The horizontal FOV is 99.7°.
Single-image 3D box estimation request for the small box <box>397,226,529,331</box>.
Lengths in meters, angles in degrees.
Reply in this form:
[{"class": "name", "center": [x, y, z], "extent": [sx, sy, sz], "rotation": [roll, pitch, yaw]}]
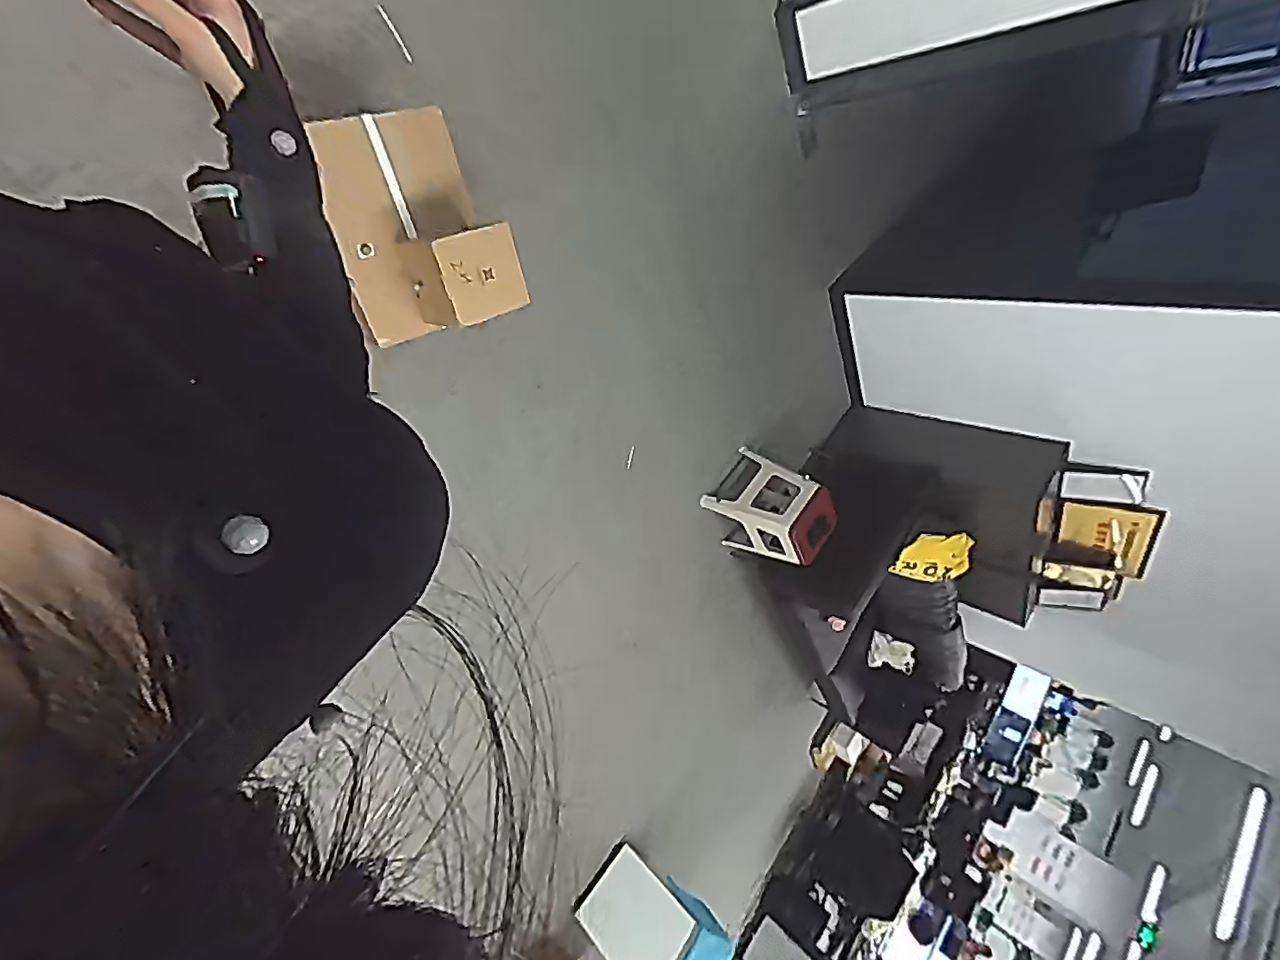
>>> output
[{"class": "small box", "center": [-0.366, -0.422, 1.125], "extent": [0.179, 0.176, 0.168], "rotation": [-34, 127, -33]}]
